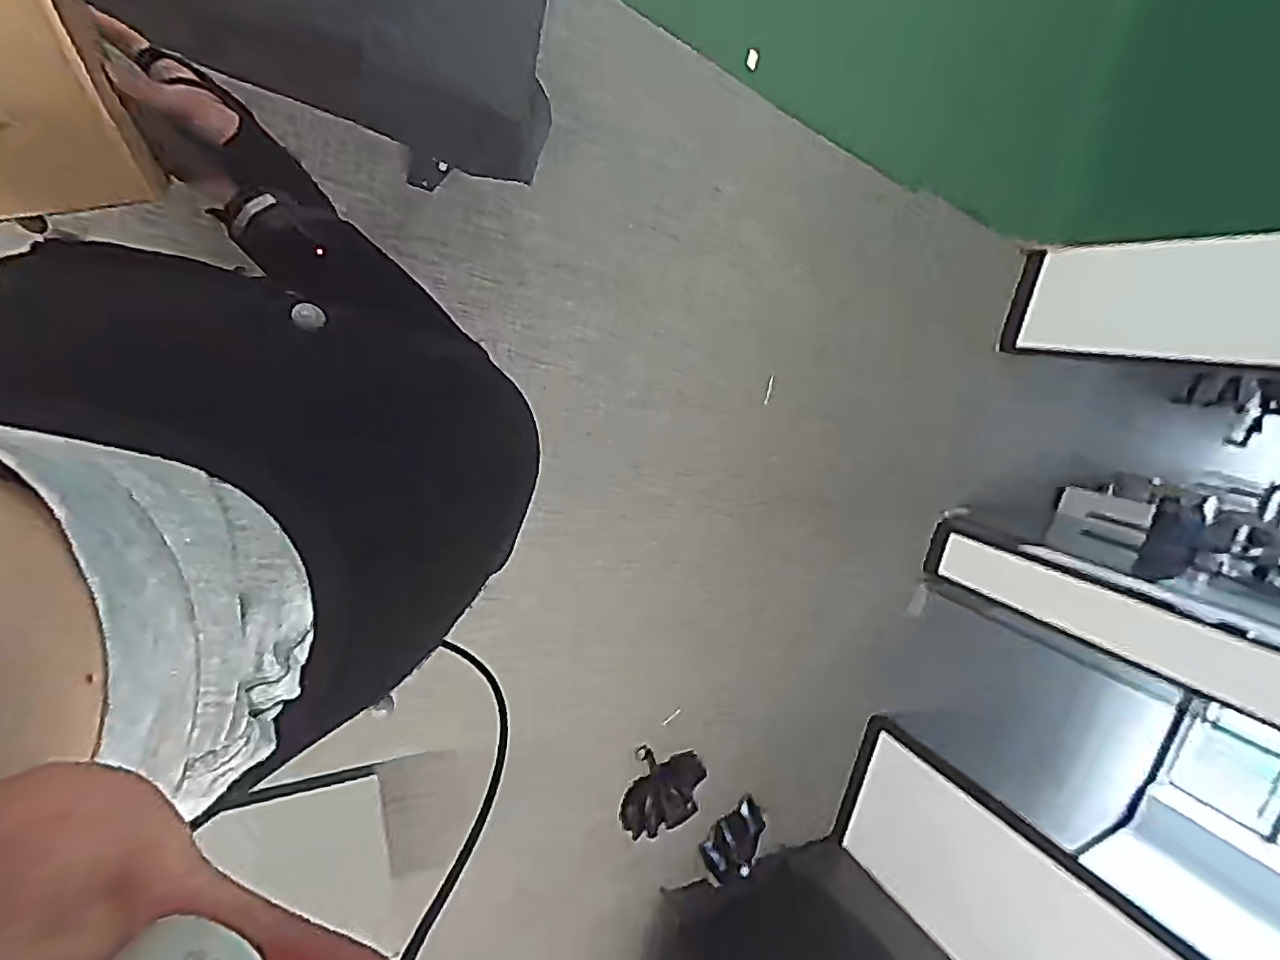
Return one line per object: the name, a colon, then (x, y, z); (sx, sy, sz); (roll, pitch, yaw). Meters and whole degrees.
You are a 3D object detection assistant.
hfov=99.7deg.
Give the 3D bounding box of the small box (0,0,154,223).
small box: (-0.433, -0.253, 0.317); (0.168, 0.176, 0.179); (-22, 129, -25)
